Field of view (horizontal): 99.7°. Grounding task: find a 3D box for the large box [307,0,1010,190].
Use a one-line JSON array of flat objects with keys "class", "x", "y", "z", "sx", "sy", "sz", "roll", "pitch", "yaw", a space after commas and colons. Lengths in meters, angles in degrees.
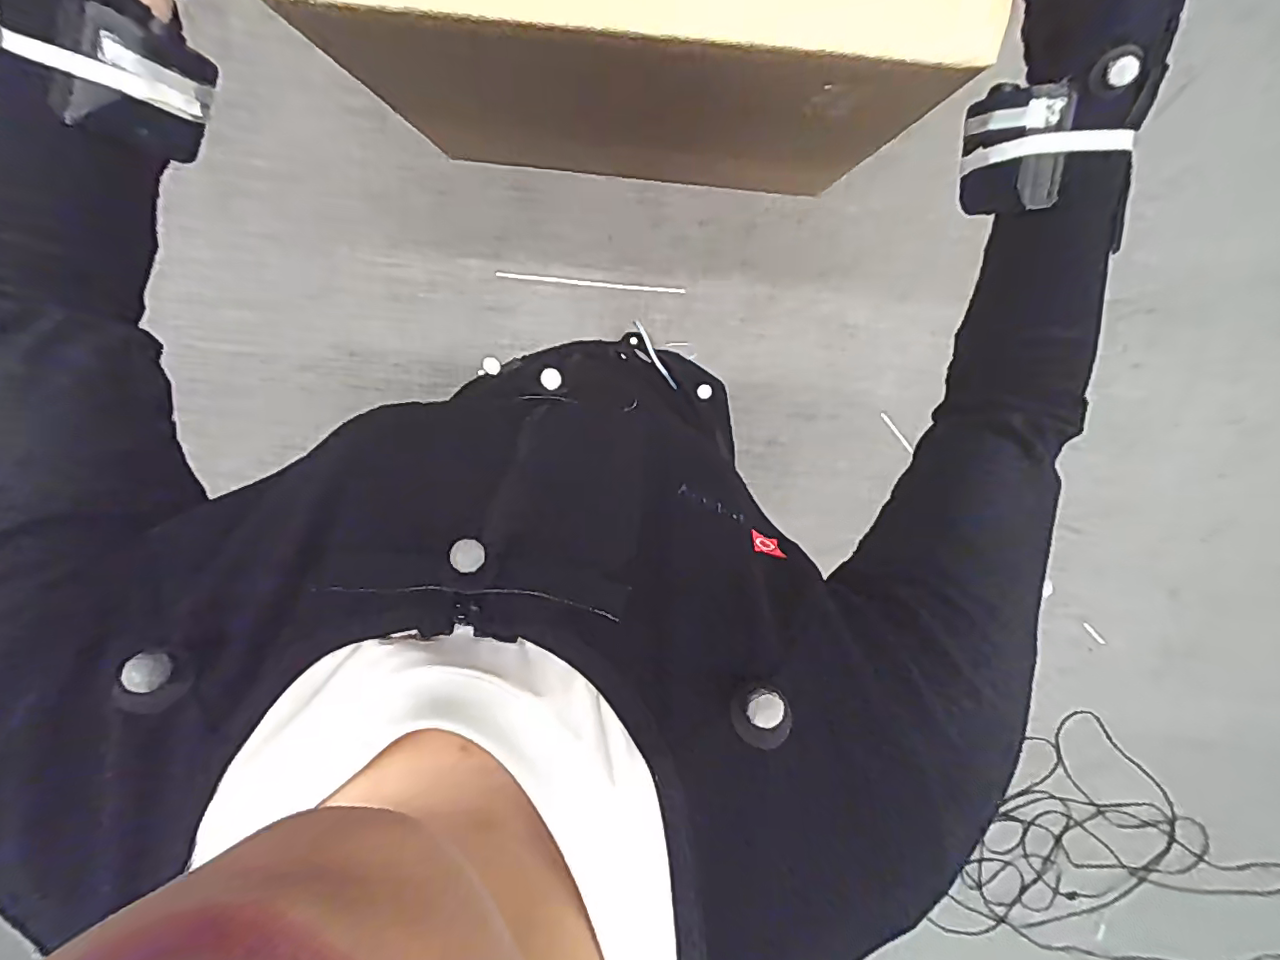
[{"class": "large box", "x": 0.013, "y": -0.436, "z": 0.404, "sx": 0.408, "sy": 0.320, "sz": 0.320, "roll": 5, "pitch": 106, "yaw": -2}]
